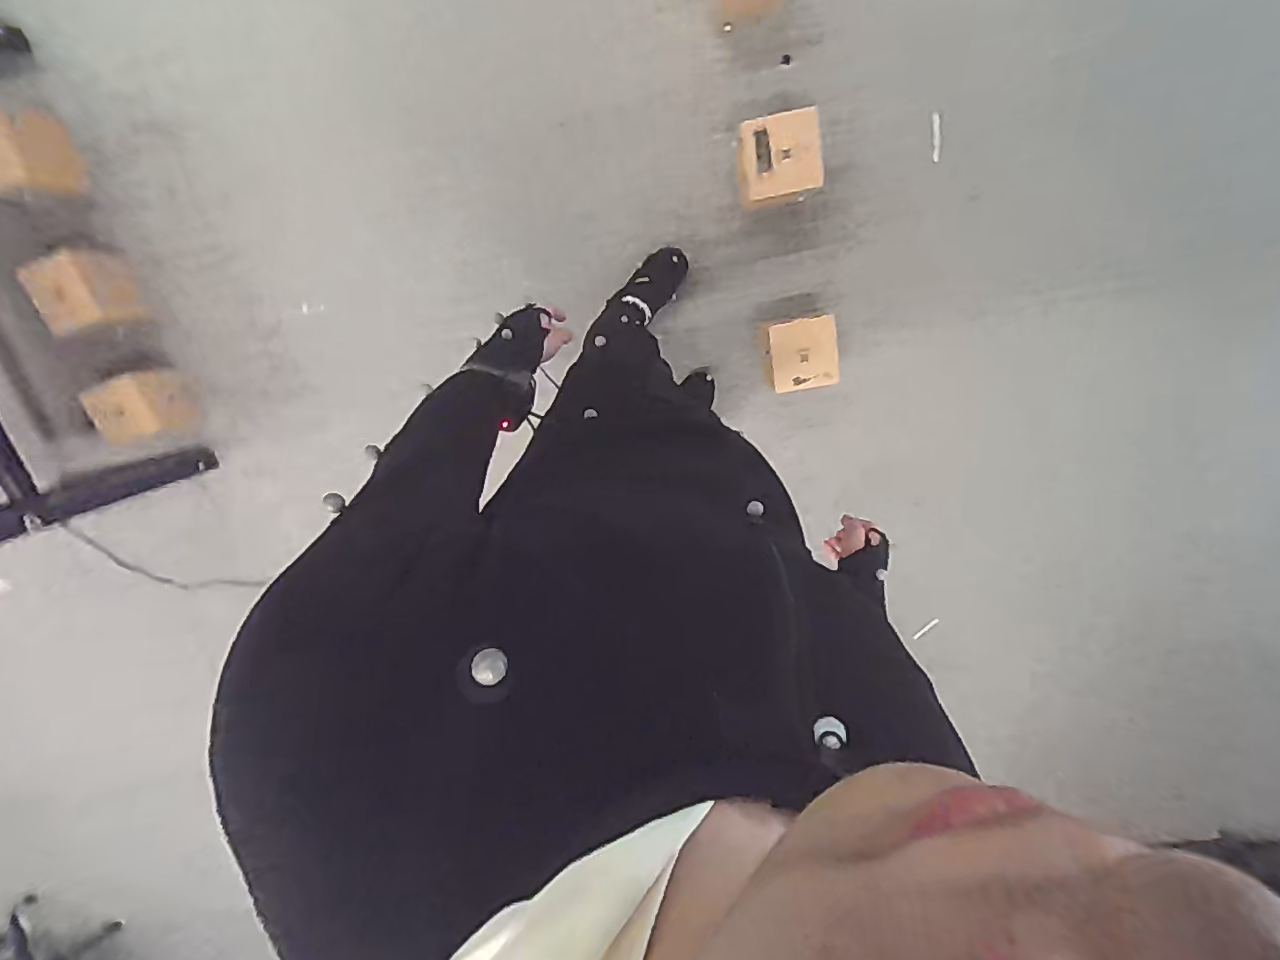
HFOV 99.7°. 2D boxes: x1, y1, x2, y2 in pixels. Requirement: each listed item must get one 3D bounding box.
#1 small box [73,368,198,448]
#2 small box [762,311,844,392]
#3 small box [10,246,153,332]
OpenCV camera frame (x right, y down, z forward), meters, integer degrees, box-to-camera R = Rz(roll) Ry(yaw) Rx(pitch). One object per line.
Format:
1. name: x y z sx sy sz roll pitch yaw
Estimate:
1. small box: -1.427 -0.212 1.549 0.179 0.176 0.168 -18 106 8
2. small box: 0.422 -0.339 1.418 0.168 0.176 0.179 -9 106 6
3. small box: -1.493 -0.510 1.459 0.168 0.176 0.179 -16 107 8
